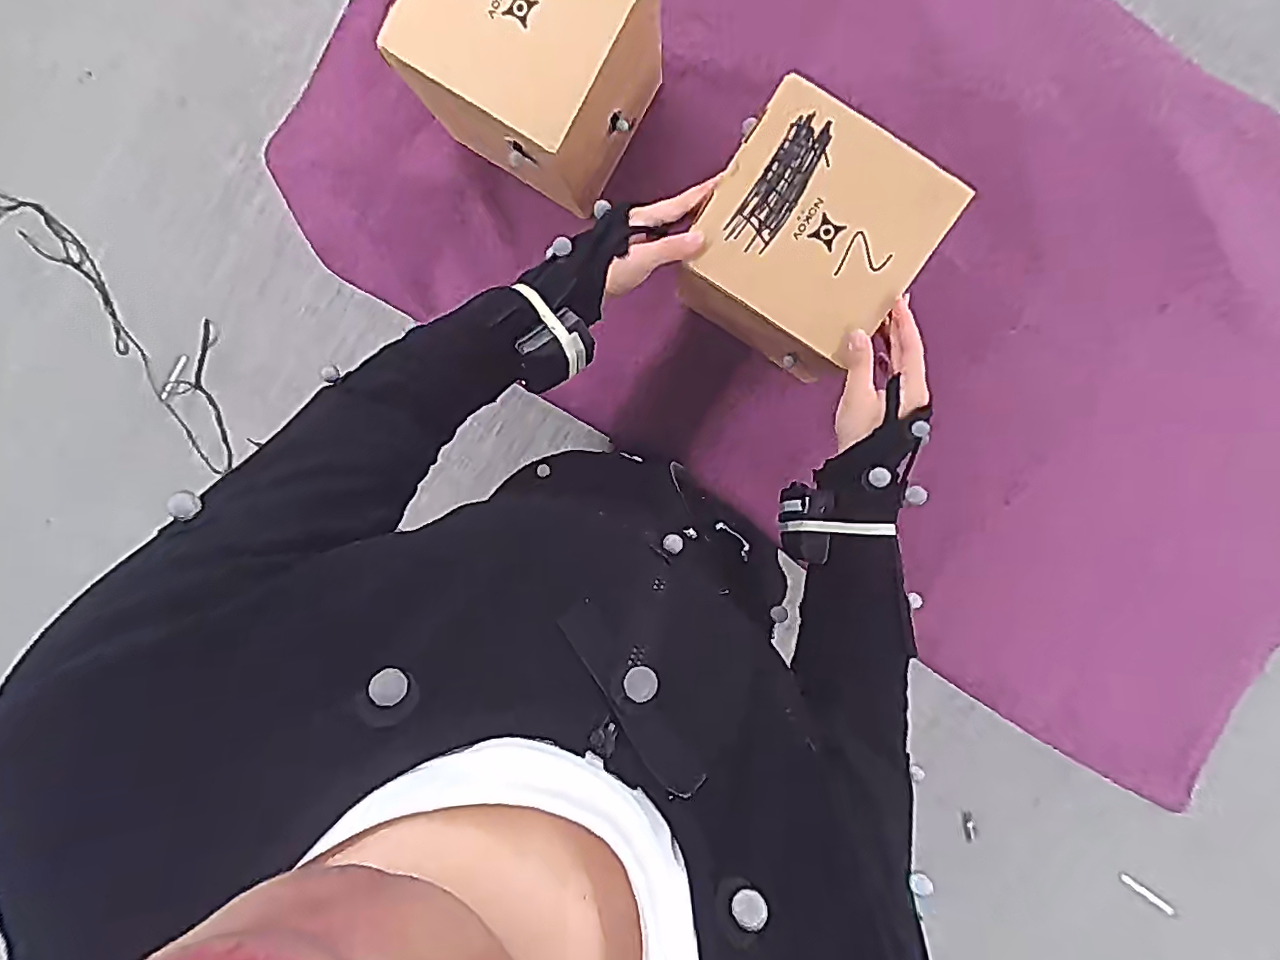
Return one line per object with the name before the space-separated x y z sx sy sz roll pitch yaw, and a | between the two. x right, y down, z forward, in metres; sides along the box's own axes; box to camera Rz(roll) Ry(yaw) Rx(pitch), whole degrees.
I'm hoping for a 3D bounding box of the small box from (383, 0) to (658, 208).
small box | -0.094 -0.392 0.515 0.179 0.176 0.168 32 98 -1
